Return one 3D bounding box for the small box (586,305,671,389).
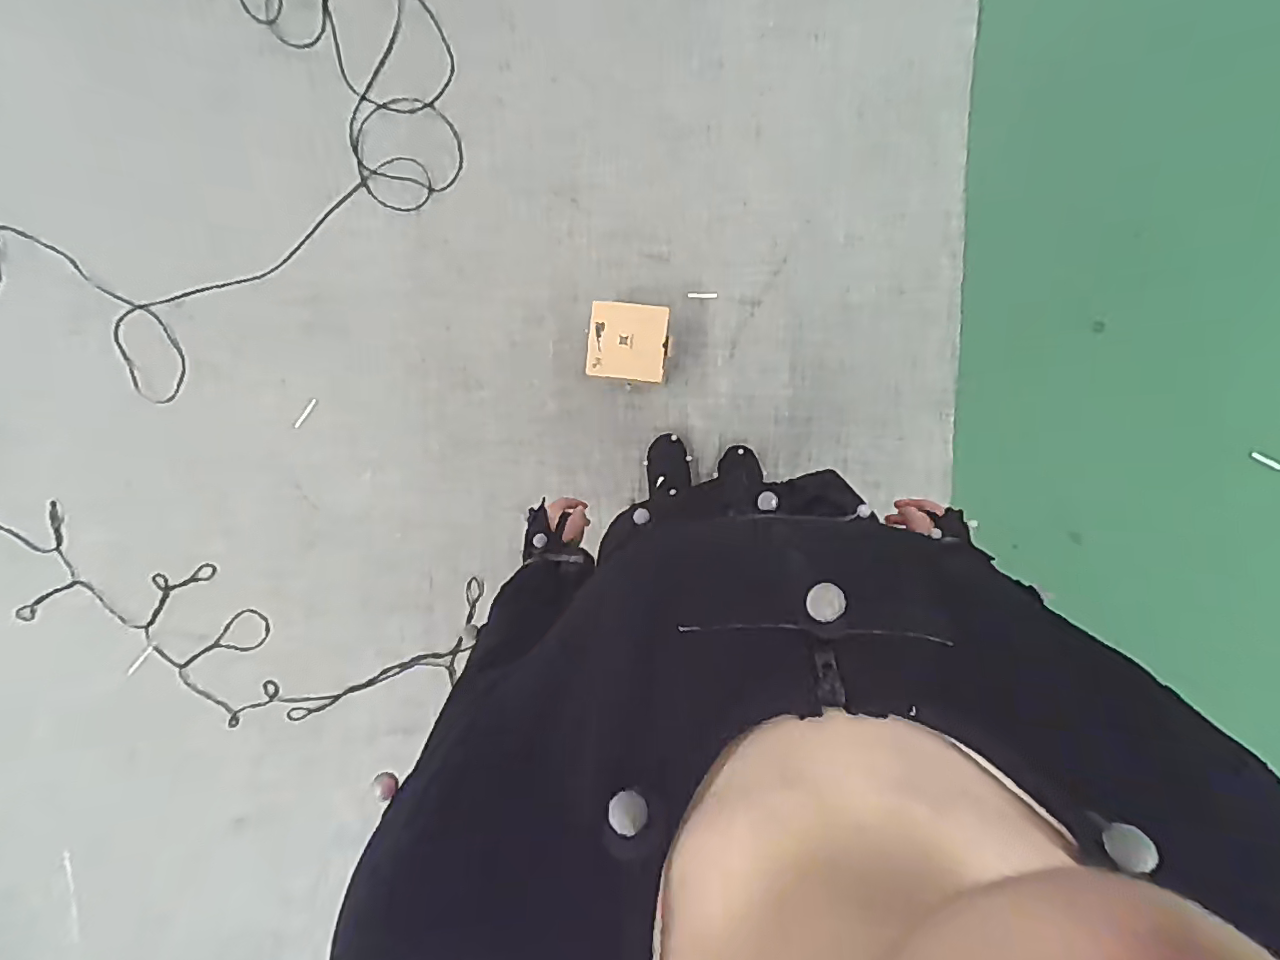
[{"bbox_3d":[-0.021,-0.308,1.278,0.179,0.176,0.168,6,96,4],"label":"small box"}]
